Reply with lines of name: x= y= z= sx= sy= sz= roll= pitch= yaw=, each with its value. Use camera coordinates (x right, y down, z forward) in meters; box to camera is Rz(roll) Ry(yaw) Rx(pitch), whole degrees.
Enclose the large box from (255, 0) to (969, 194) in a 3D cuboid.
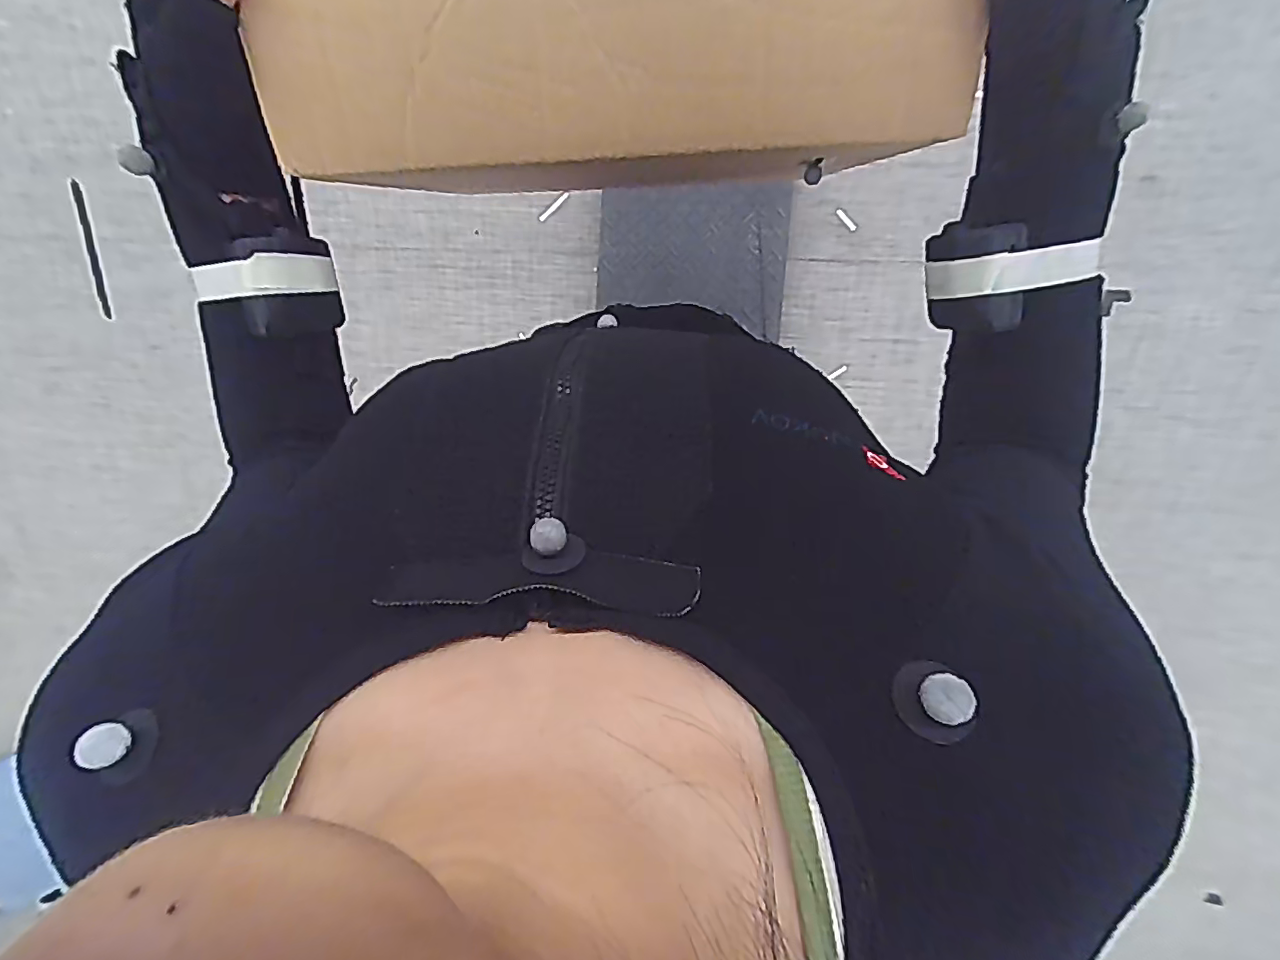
large box: x=-0.015 y=-0.400 z=0.400 sx=0.408 sy=0.320 sz=0.320 roll=-1 pitch=115 yaw=4
